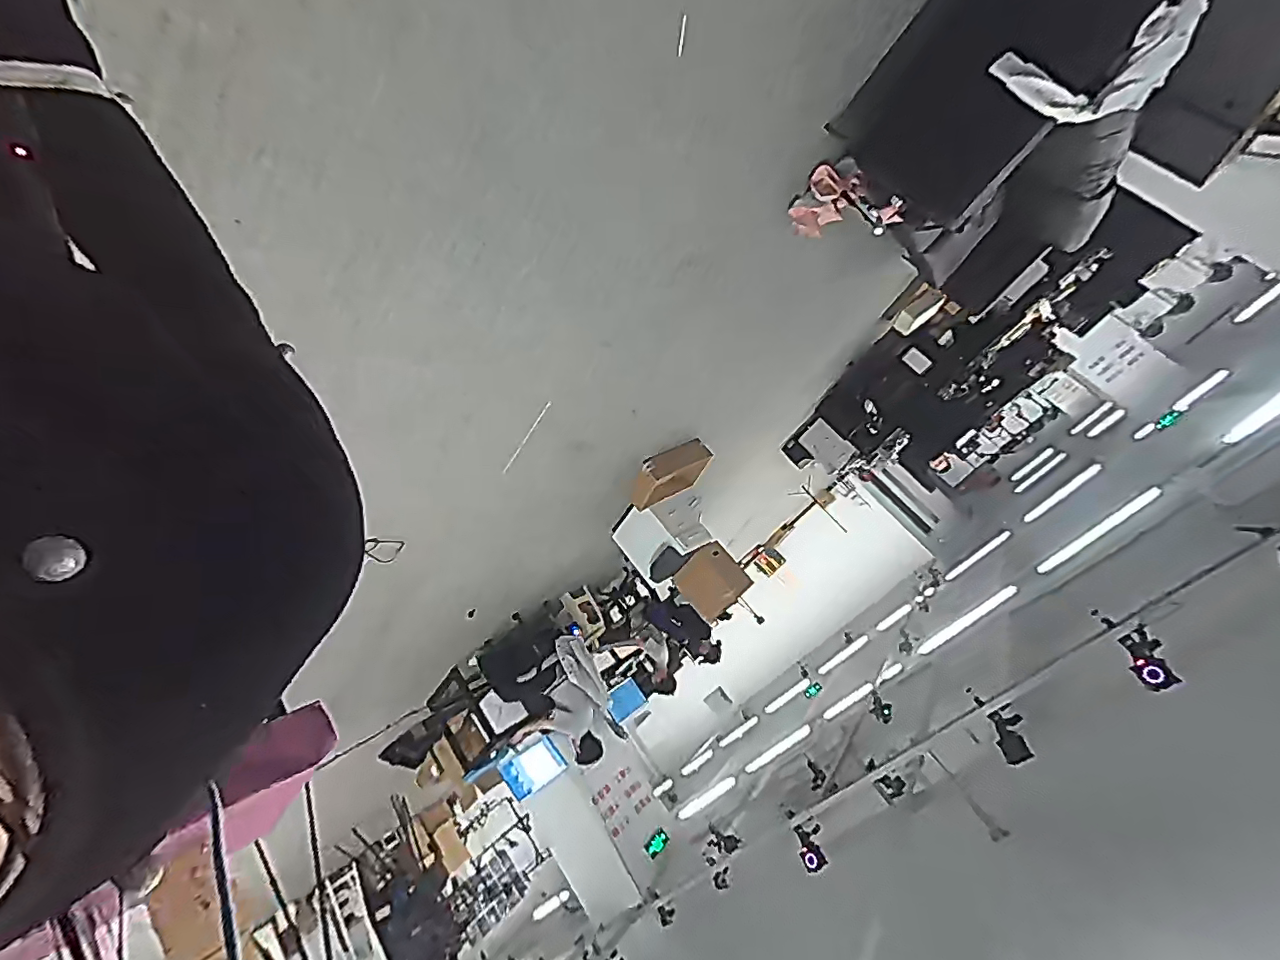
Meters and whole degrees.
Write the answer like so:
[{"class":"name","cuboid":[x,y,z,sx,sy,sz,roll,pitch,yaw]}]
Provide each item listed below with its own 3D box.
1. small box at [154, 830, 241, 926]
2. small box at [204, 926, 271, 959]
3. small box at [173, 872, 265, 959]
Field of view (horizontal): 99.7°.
[{"class":"small box","cuboid":[-1.448,1.288,1.763,0.179,0.176,0.168,-49,158,26]},{"class":"small box","cuboid":[-1.251,1.528,1.656,0.179,0.176,0.168,-51,158,26]},{"class":"small box","cuboid":[-1.341,1.405,1.717,0.168,0.176,0.179,-49,158,25]}]
